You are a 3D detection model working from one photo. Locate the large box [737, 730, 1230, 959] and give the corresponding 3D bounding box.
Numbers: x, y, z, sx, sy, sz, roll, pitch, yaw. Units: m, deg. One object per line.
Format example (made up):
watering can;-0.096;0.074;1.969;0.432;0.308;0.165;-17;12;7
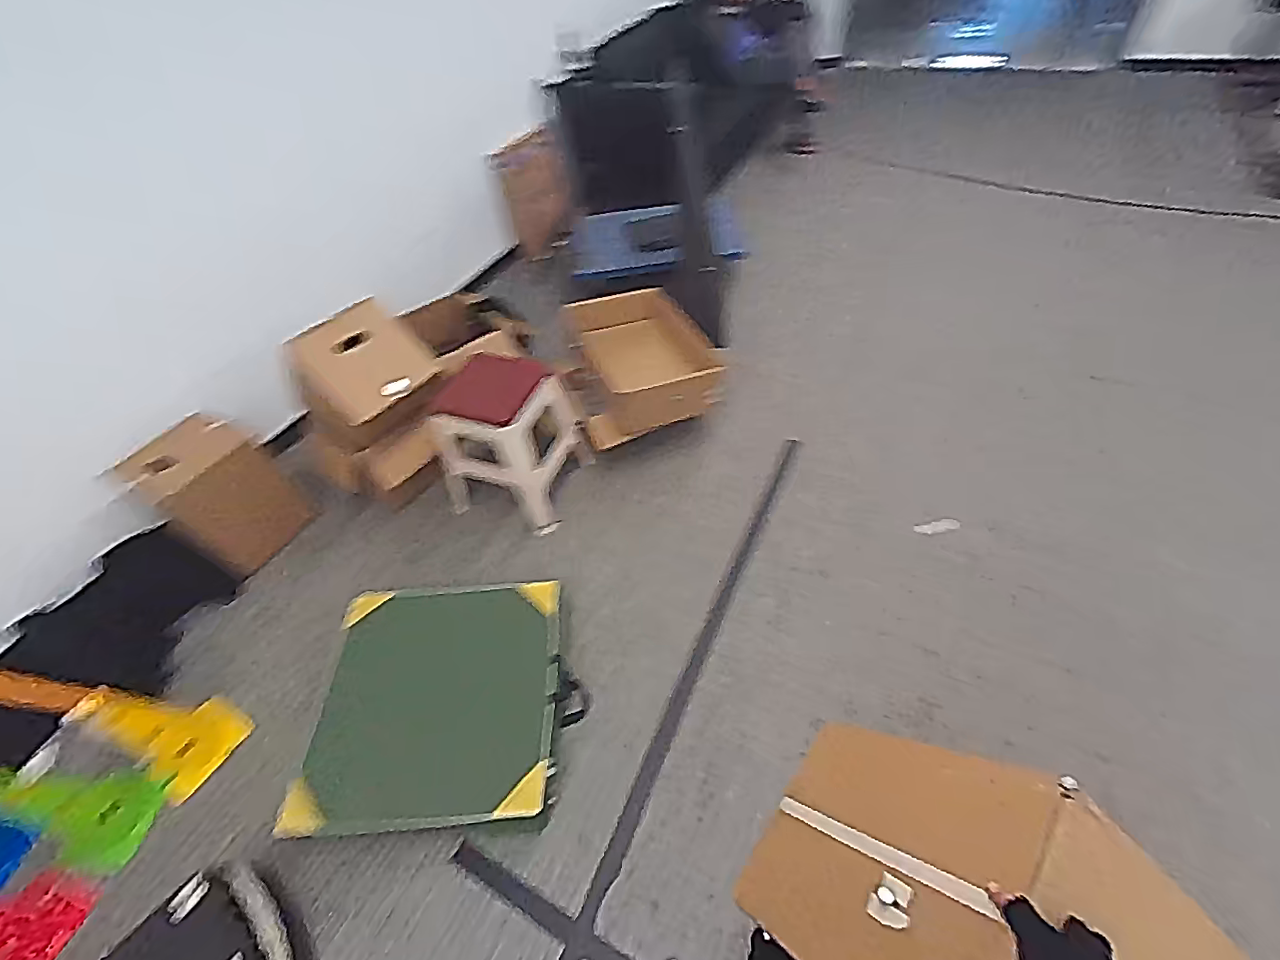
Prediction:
large box;0.409;0.588;0.703;0.320;0.408;0.320;46;66;-4
